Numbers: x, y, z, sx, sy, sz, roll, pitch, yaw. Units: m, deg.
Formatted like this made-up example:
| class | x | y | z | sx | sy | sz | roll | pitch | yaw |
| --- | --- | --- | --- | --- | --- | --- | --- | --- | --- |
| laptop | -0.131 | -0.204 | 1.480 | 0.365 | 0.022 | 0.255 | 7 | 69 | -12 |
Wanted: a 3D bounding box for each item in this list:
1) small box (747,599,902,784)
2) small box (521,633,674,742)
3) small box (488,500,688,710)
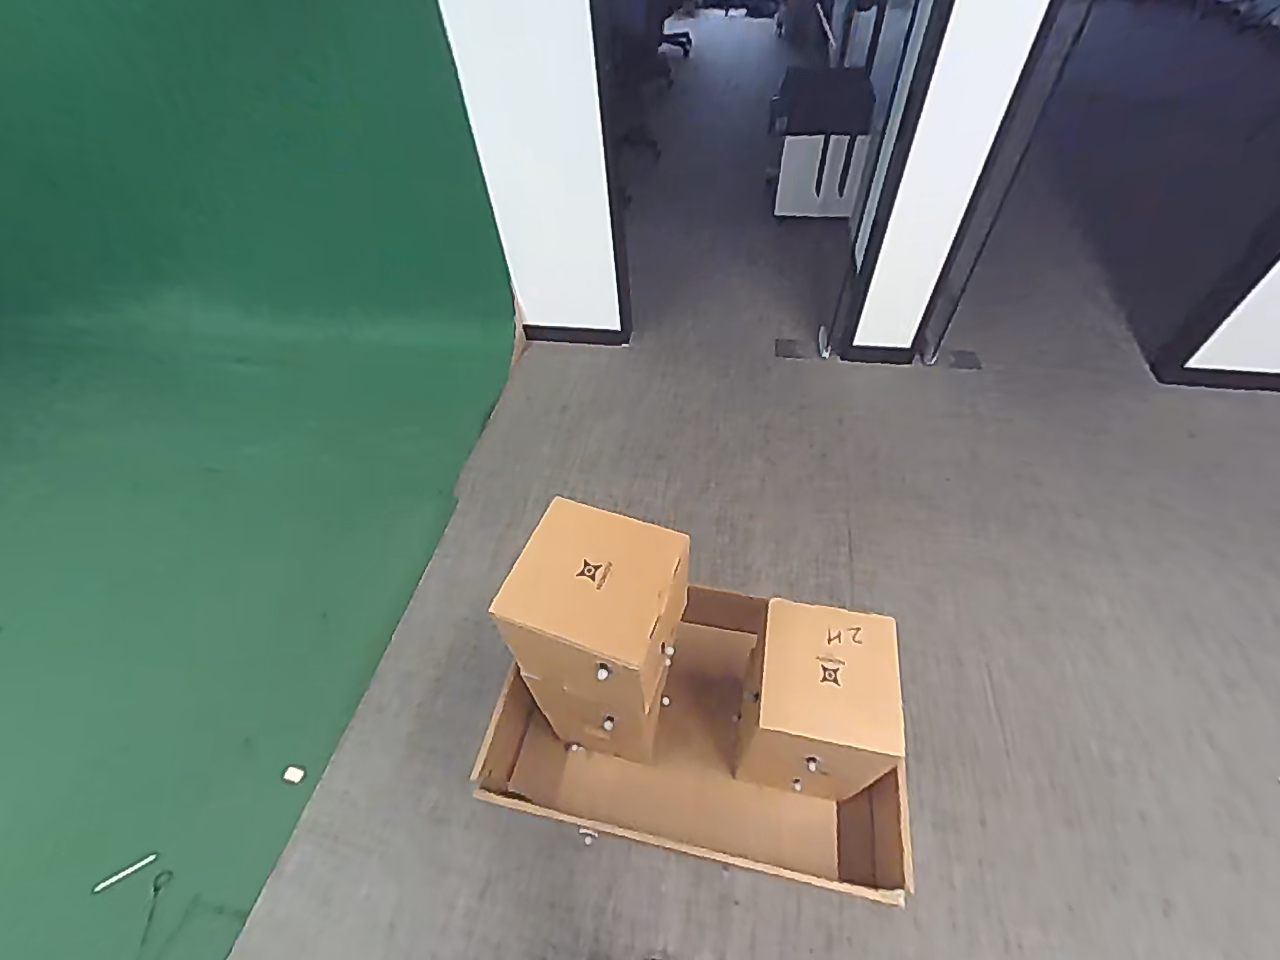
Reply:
| class | x | y | z | sx | sy | sz | roll | pitch | yaw |
| --- | --- | --- | --- | --- | --- | --- | --- | --- | --- |
| small box | 0.240 | 0.289 | 0.732 | 0.168 | 0.176 | 0.179 | 8 | 52 | 11 |
| small box | -0.048 | 0.254 | 0.787 | 0.168 | 0.176 | 0.179 | 13 | 52 | 13 |
| small box | -0.052 | 0.155 | 0.659 | 0.179 | 0.176 | 0.168 | 16 | 53 | 14 |
